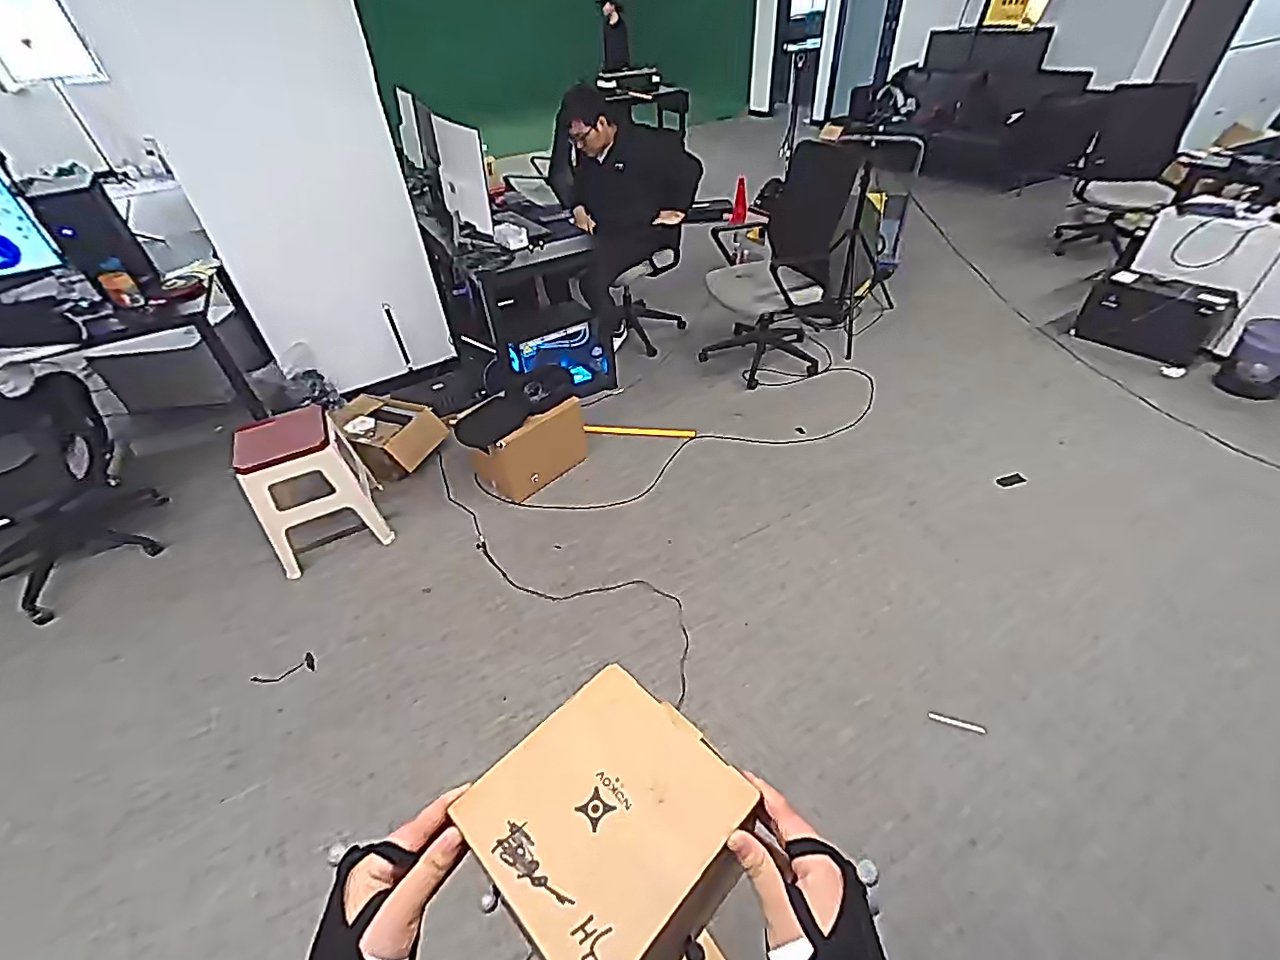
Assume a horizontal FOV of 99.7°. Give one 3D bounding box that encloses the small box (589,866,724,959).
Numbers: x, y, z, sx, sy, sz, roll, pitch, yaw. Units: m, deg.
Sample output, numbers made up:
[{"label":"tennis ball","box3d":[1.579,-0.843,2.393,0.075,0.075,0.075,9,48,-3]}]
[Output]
[{"label":"small box","box3d":[0.031,0.853,0.970,0.179,0.176,0.168,-27,48,-26]}]
